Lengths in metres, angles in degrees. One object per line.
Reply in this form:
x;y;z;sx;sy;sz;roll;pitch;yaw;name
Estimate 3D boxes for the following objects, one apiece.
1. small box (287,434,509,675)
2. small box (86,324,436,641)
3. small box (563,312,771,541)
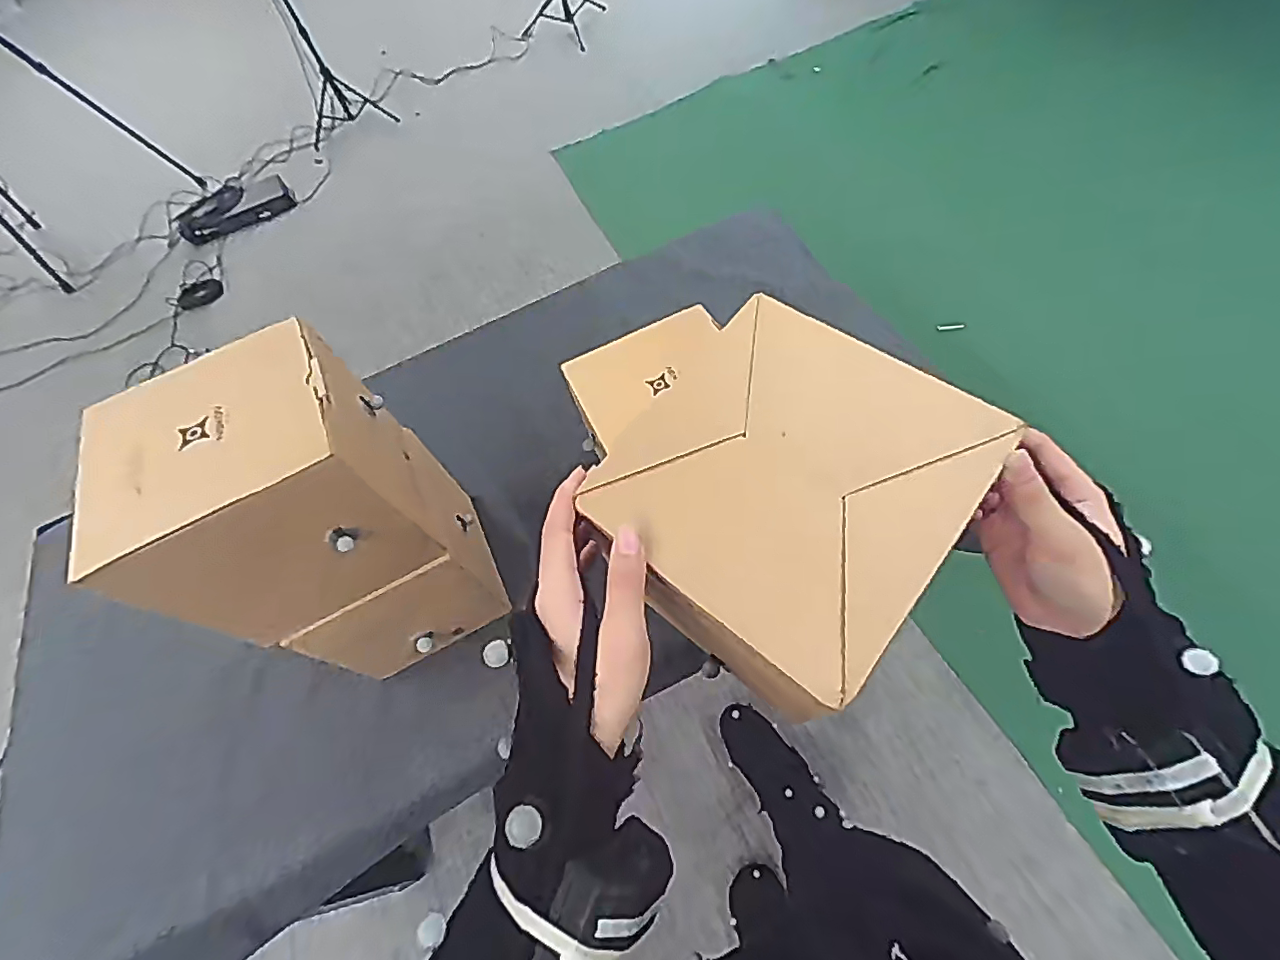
-0.269;0.088;0.599;0.168;0.176;0.179;-27;59;-7;small box
-0.297;0.009;0.460;0.179;0.176;0.168;-29;58;-6;small box
0.035;-0.055;0.635;0.179;0.176;0.168;-26;58;-7;small box
